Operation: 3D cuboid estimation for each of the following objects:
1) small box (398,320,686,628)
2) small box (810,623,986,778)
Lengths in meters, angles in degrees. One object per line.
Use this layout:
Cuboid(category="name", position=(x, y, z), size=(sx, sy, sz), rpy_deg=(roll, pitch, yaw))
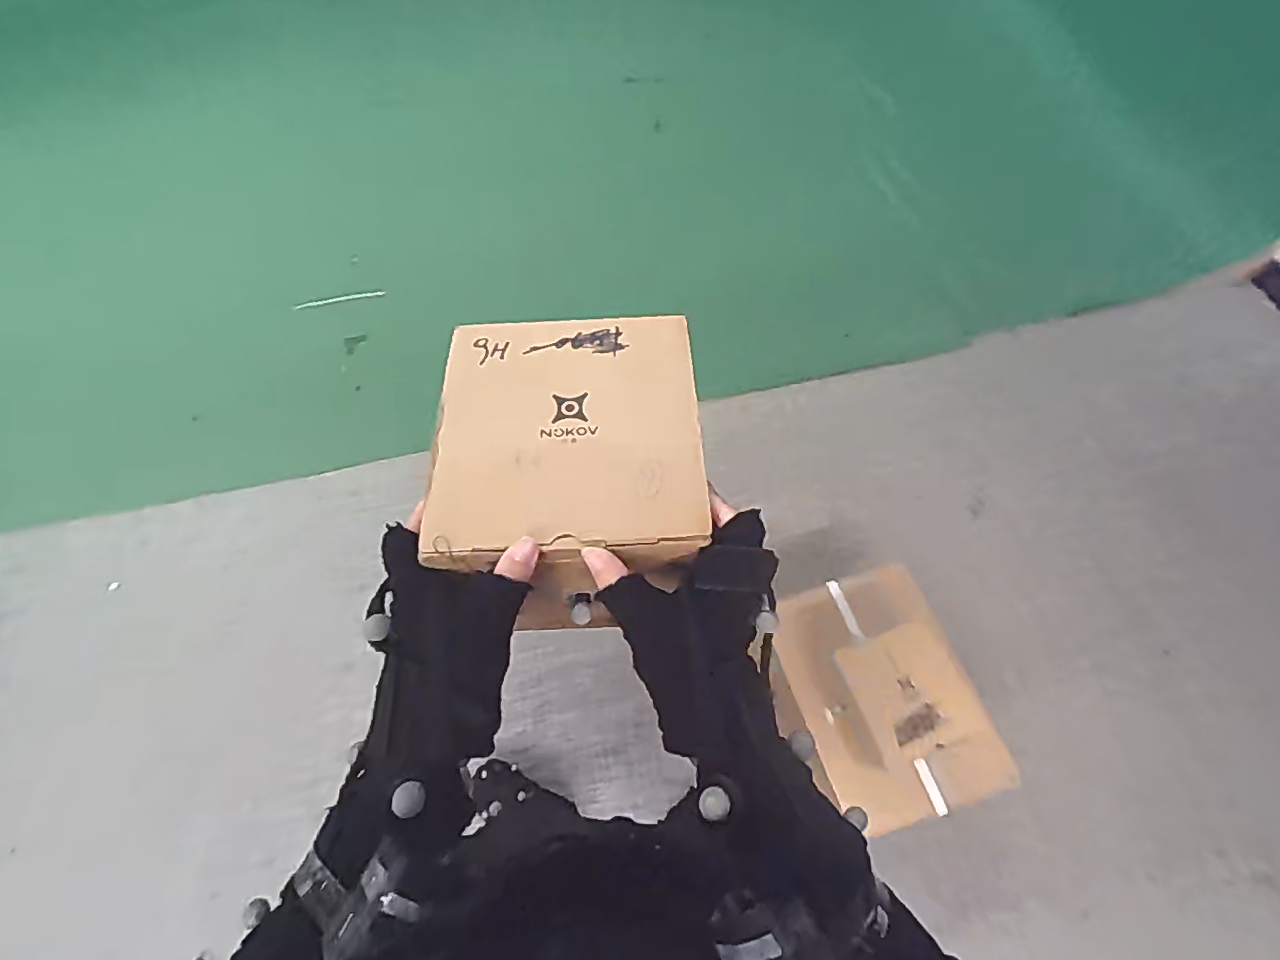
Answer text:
Cuboid(category="small box", position=(-0.055, 0.008, 0.406), size=(0.168, 0.176, 0.179), rpy_deg=(-4, 61, 0))
Cuboid(category="small box", position=(0.407, 0.357, 0.887), size=(0.168, 0.176, 0.179), rpy_deg=(-22, 67, -6))
